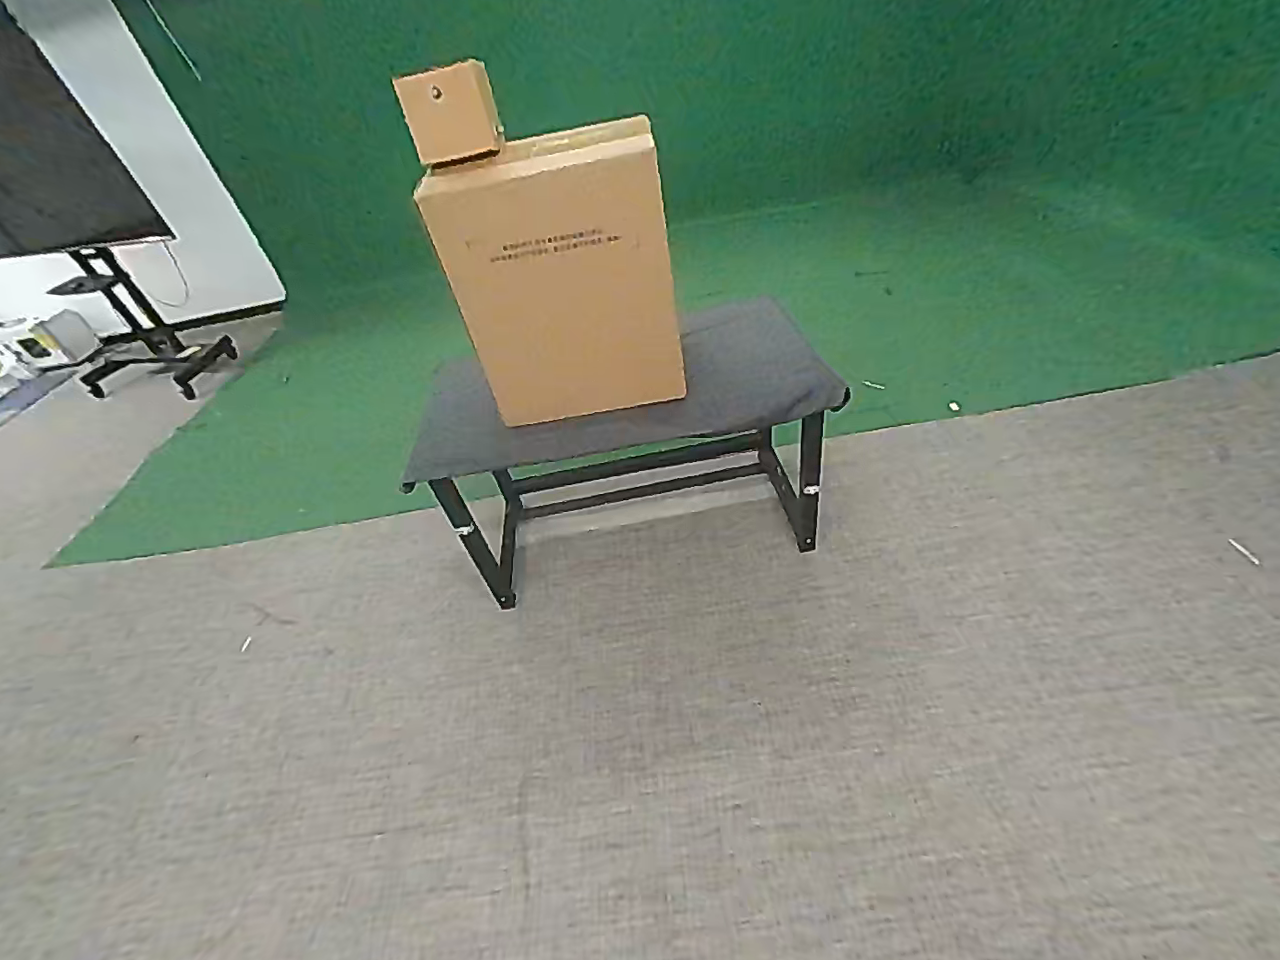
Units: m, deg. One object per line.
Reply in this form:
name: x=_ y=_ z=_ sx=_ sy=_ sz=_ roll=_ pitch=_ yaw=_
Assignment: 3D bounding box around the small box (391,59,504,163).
small box: x=-0.428 y=-0.833 z=1.232 sx=0.179 sy=0.176 sz=0.168 roll=-9 pitch=35 yaw=0
